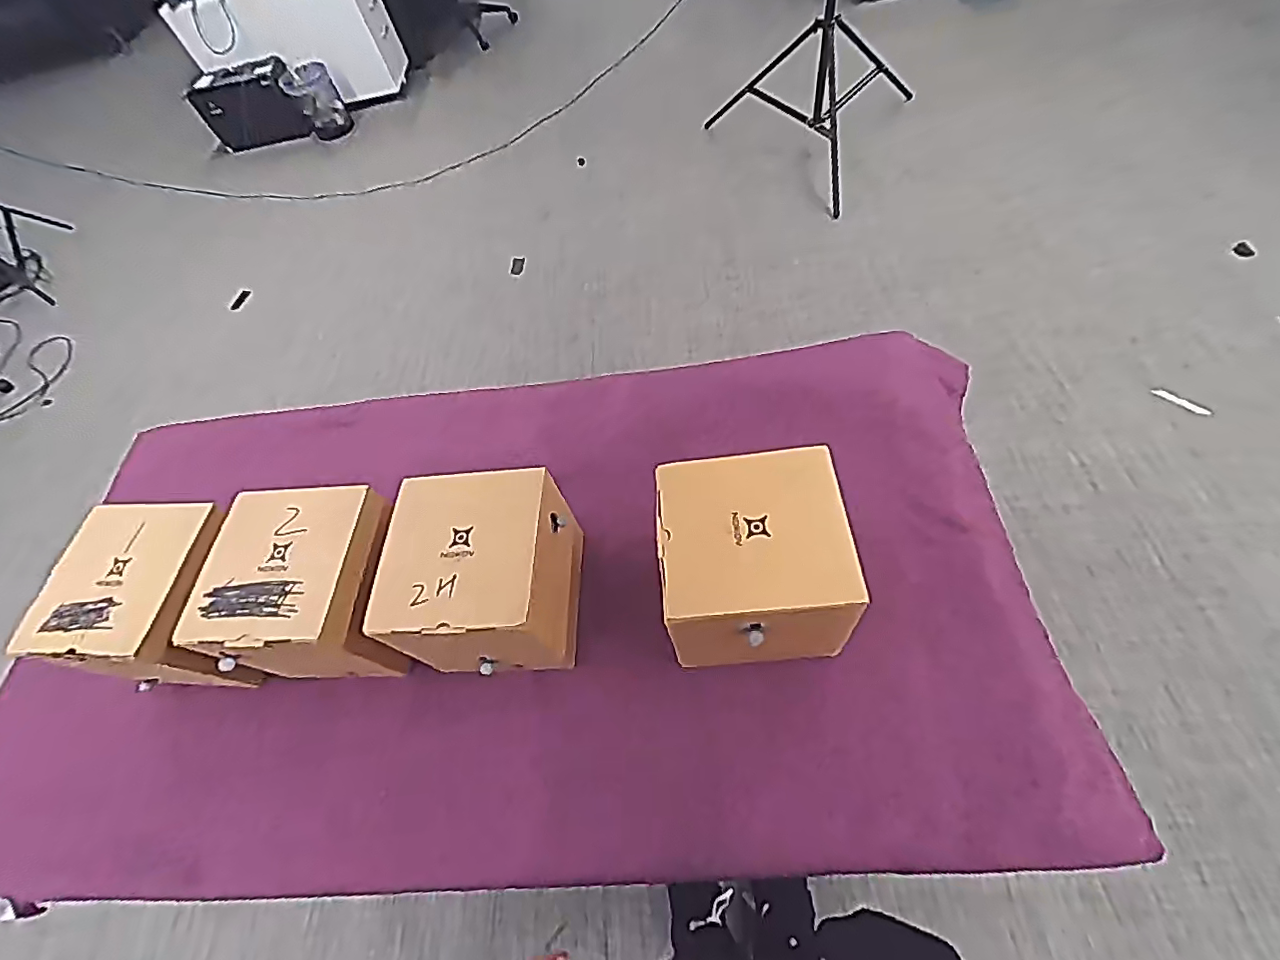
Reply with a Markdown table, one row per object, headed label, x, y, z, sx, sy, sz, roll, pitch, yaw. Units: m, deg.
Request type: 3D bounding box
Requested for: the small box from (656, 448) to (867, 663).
| label | x | y | z | sx | sy | sz | roll | pitch | yaw |
| --- | --- | --- | --- | --- | --- | --- | --- | --- | --- |
| small box | 0.117 | 0.088 | 0.573 | 0.179 | 0.176 | 0.168 | -7 | 57 | 7 |
